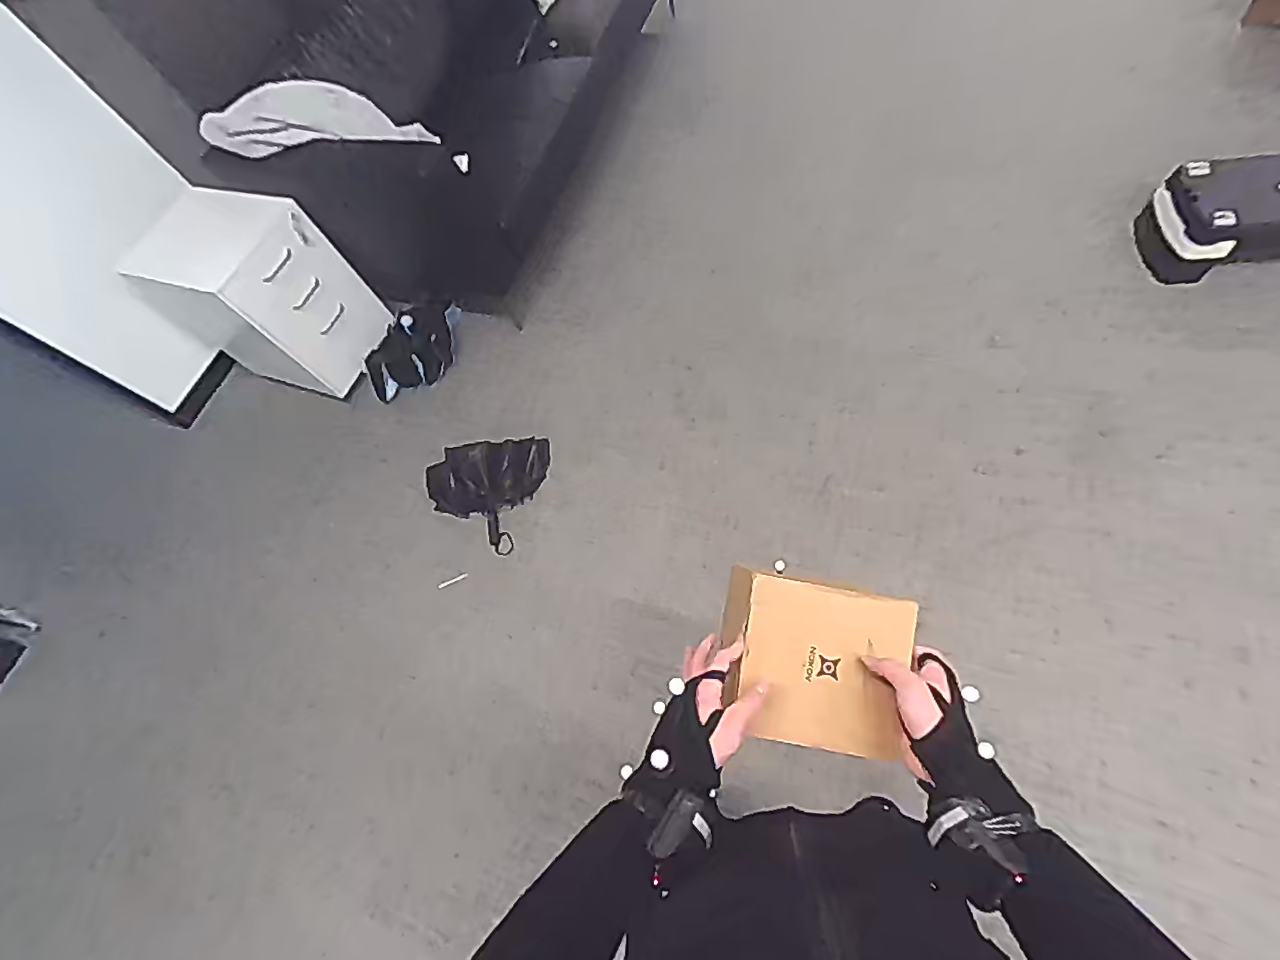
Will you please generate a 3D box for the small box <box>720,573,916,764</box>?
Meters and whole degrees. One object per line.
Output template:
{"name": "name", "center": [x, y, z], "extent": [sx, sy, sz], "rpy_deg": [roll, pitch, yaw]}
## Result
{"name": "small box", "center": [0.197, 0.209, 0.647], "extent": [0.179, 0.176, 0.168], "rpy_deg": [8, 86, 1]}
